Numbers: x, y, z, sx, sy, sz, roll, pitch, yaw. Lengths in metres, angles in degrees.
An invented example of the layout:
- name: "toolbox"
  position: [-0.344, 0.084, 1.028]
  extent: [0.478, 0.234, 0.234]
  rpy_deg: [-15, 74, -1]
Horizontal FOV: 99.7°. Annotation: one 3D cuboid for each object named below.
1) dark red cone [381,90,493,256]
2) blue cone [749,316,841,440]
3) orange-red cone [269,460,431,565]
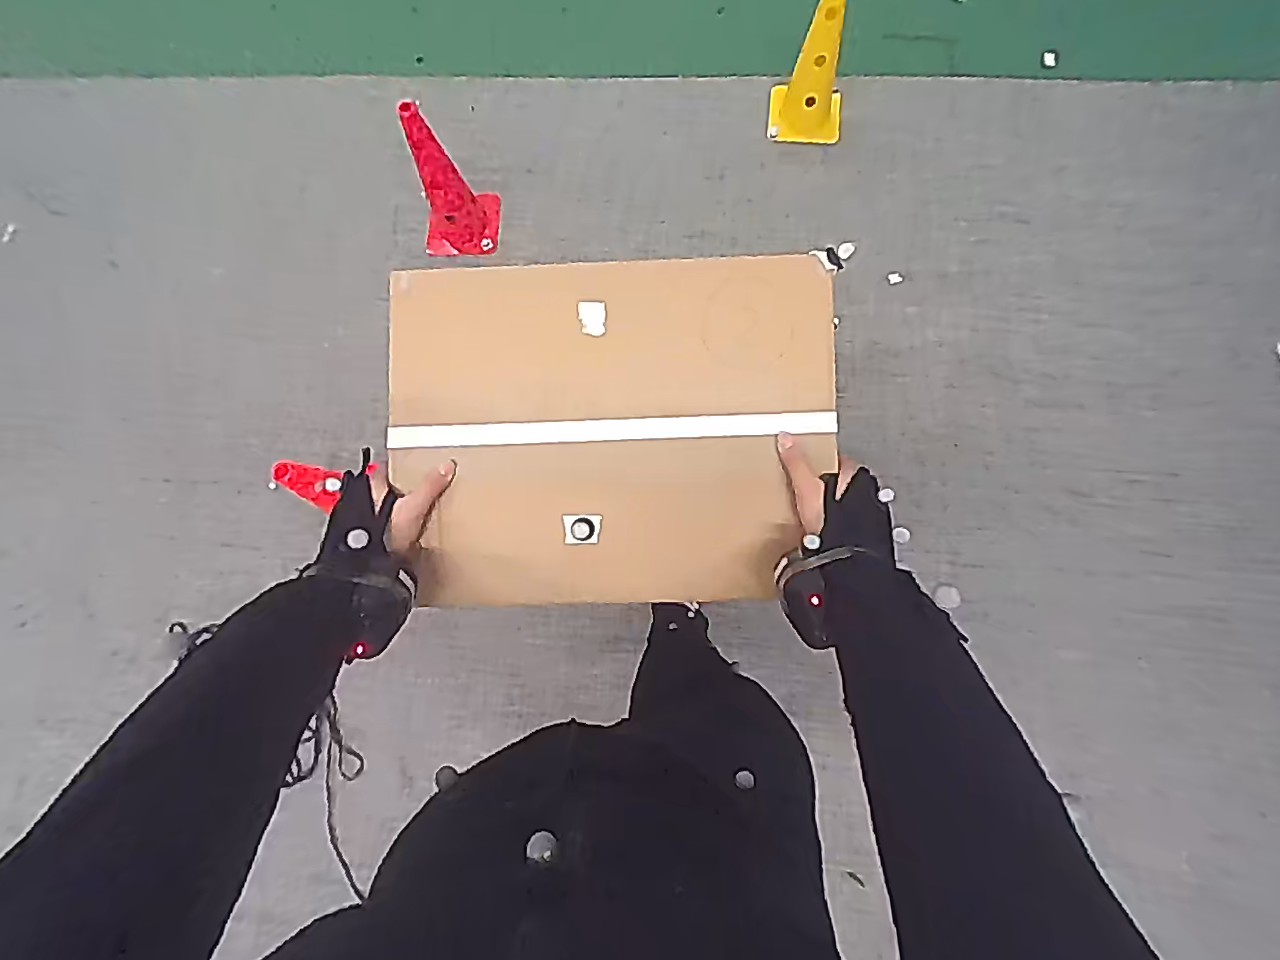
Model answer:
- name: "dark red cone"
  position: [-0.522, -0.765, 1.349]
  extent: [0.202, 0.394, 0.201]
  rpy_deg: [-4, 70, 3]
- name: "blue cone"
  position: [0.352, -0.234, 1.165]
  extent: [0.192, 0.380, 0.193]
  rpy_deg: [3, 74, 5]
- name: "orange-red cone"
  position: [-0.640, 0.036, 1.143]
  extent: [0.199, 0.360, 0.198]
  rpy_deg: [22, 75, 12]
